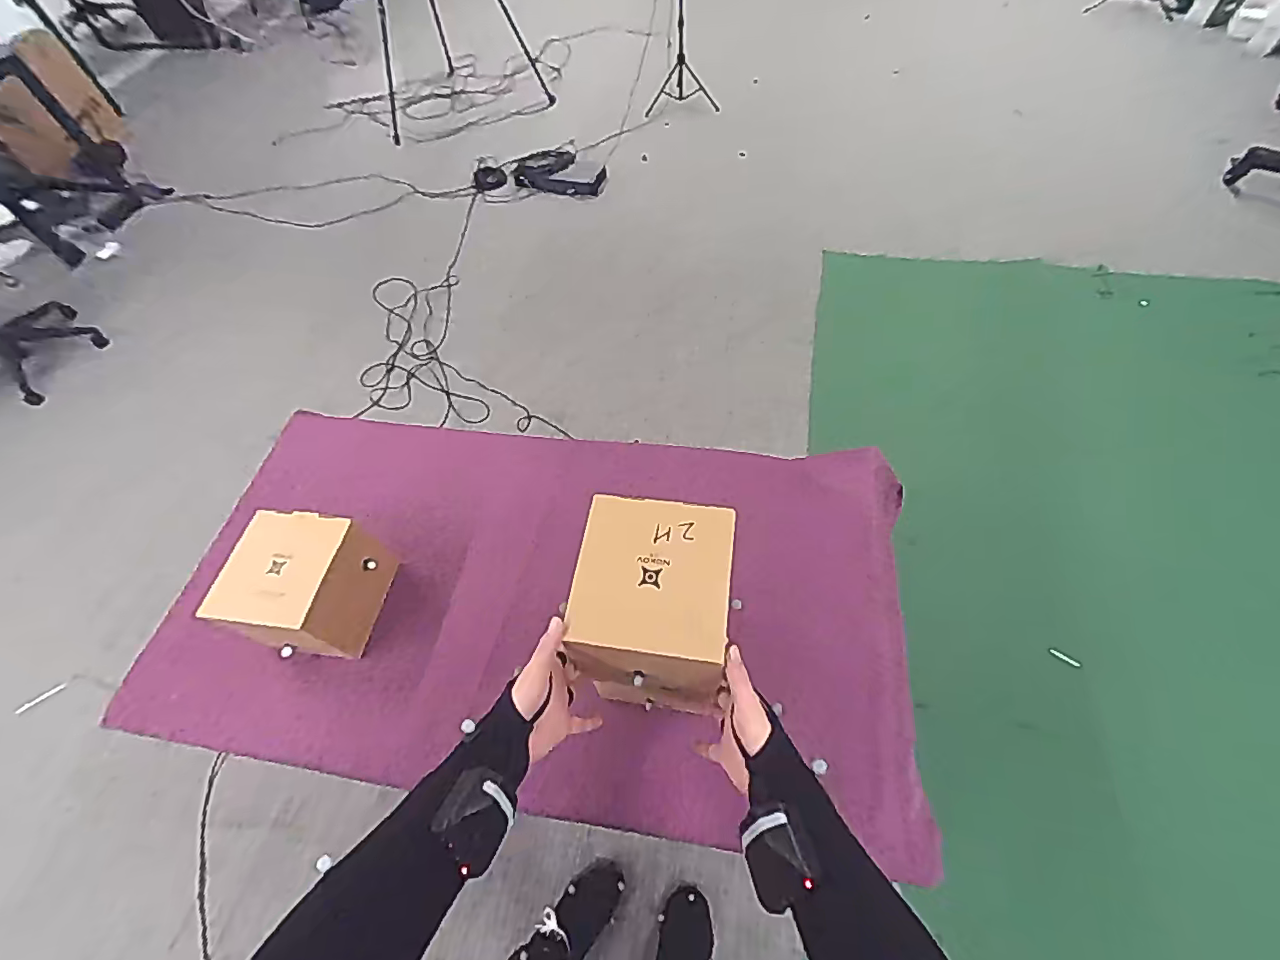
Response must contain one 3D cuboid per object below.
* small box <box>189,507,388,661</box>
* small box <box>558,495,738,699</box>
[{"bbox_3d":[-0.527,0.165,0.846,0.168,0.176,0.179,6,58,8],"label":"small box"},{"bbox_3d":[0.018,0.141,0.628,0.168,0.176,0.179,7,57,7],"label":"small box"}]
